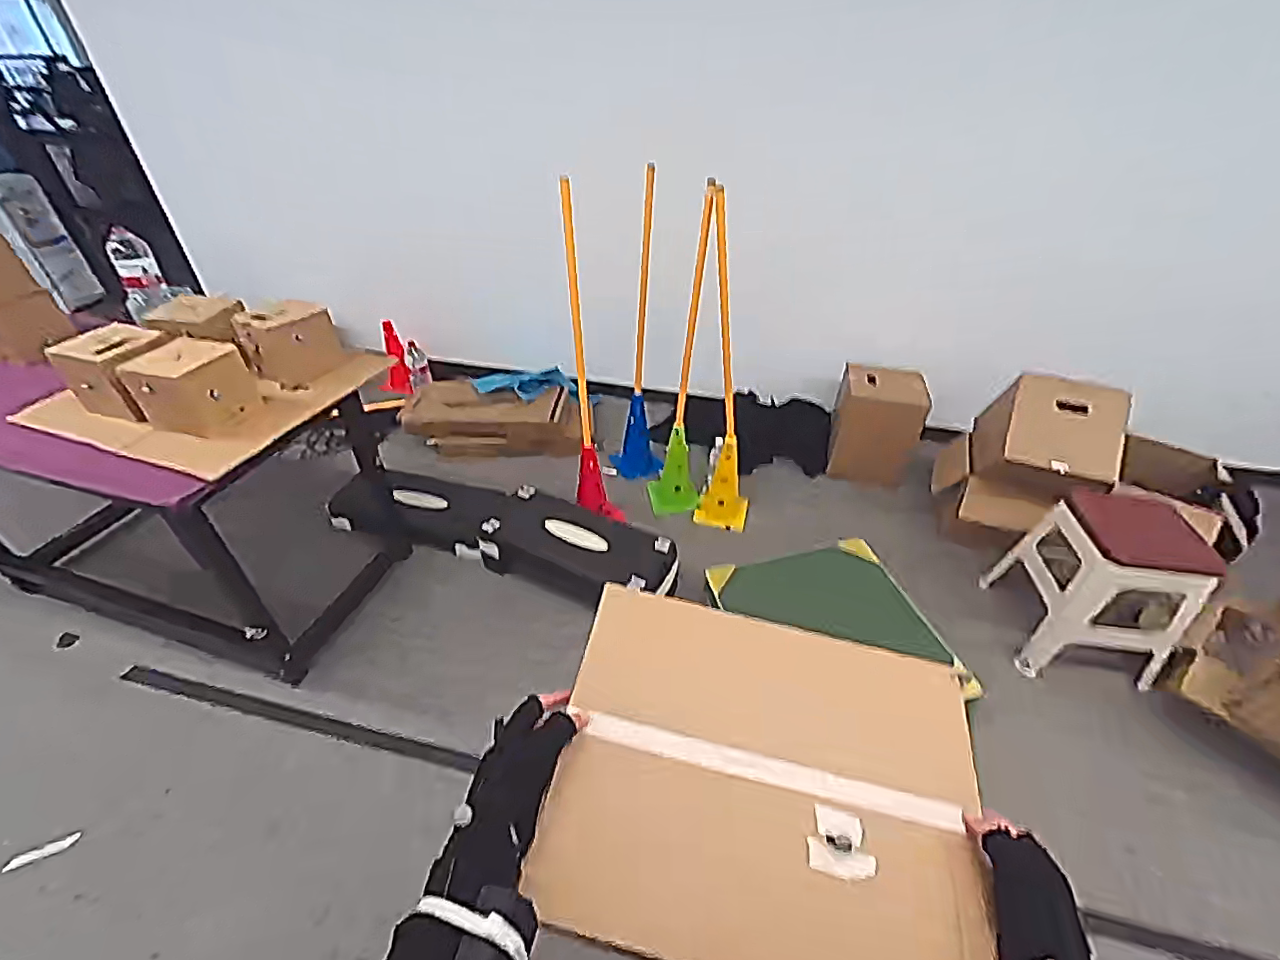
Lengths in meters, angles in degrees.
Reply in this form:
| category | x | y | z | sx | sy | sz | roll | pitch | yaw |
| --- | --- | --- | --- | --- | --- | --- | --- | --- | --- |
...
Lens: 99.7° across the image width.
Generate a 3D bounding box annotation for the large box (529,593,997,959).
| category | x | y | z | sx | sy | sz | roll | pitch | yaw |
| --- | --- | --- | --- | --- | --- | --- | --- | --- | --- |
| large box | 0.115 | 0.383 | 0.646 | 0.408 | 0.320 | 0.320 | 13 | 50 | 5 |
